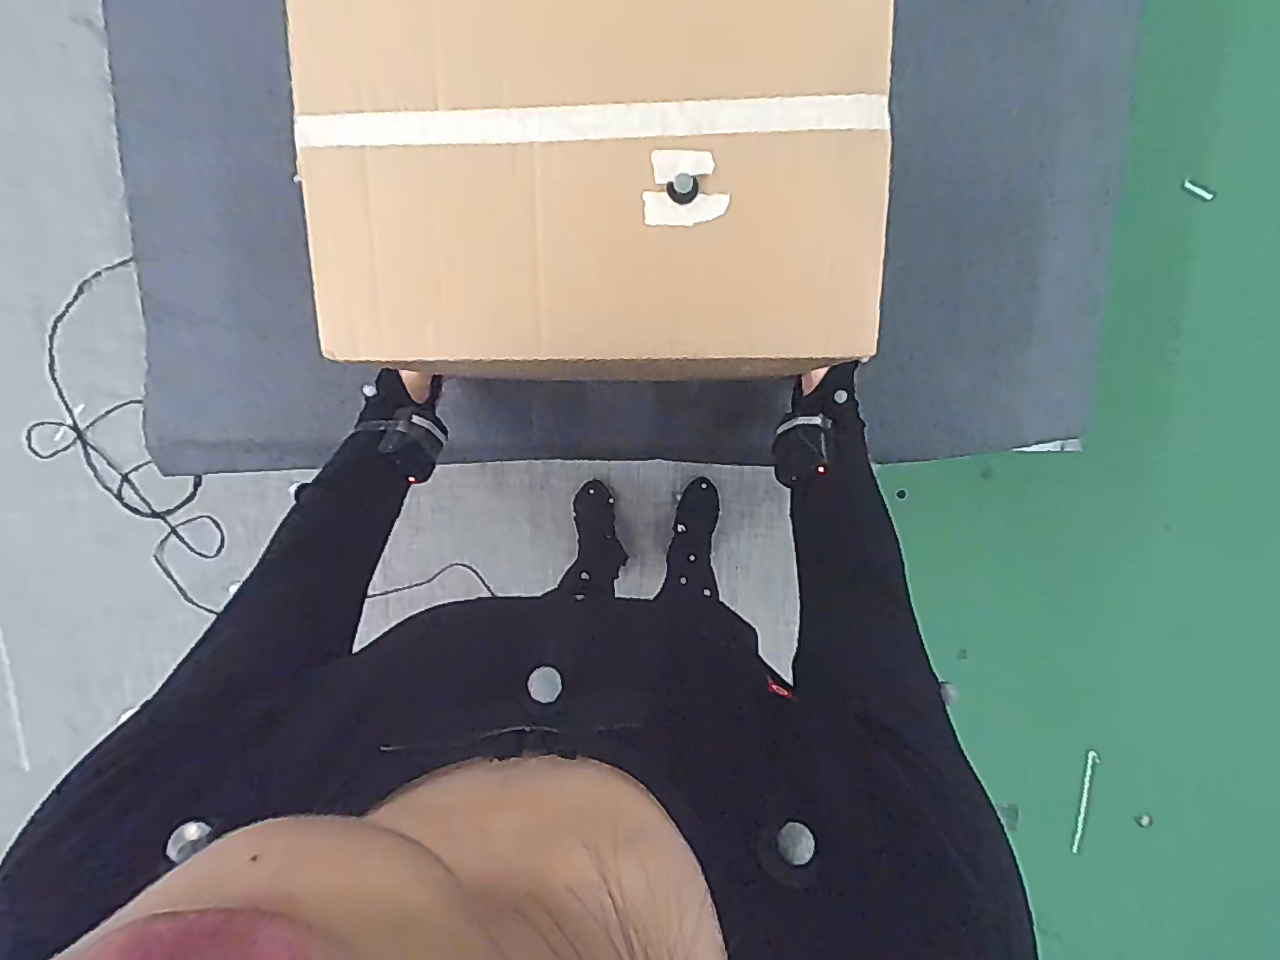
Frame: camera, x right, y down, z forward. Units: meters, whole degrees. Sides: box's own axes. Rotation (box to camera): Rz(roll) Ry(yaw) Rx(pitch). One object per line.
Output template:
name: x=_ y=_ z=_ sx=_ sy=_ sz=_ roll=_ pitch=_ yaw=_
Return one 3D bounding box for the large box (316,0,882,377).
large box: x=-0.027 y=-0.271 z=0.535 sx=0.408 sy=0.320 sz=0.320 roll=0 pitch=98 yaw=2
